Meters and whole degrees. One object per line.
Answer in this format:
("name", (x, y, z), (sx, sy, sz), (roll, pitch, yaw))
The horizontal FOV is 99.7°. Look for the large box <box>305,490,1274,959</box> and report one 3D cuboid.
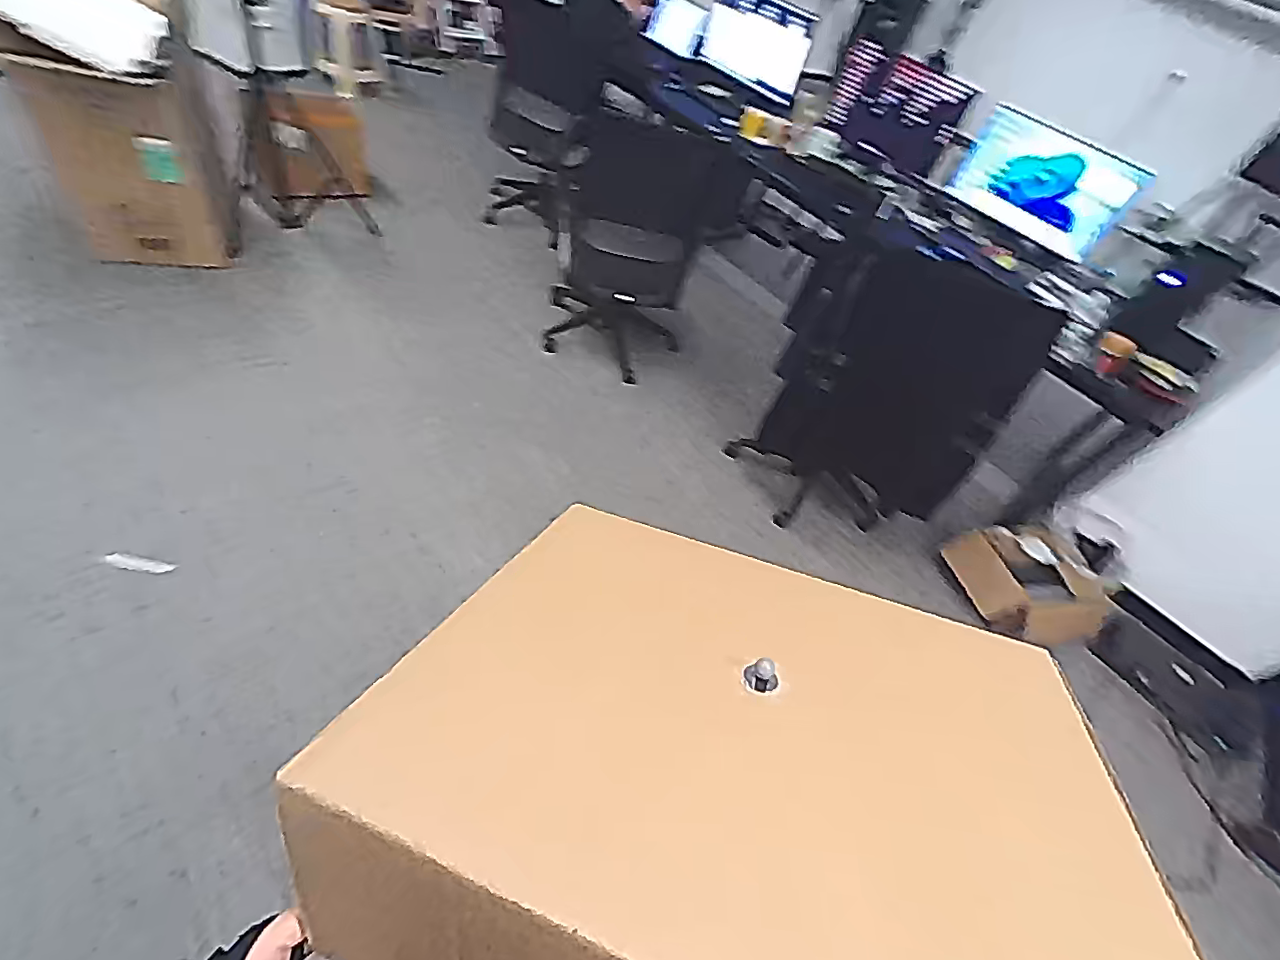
("large box", (0.064, 0.238, 0.389), (0.408, 0.320, 0.320), (14, 28, 14))
